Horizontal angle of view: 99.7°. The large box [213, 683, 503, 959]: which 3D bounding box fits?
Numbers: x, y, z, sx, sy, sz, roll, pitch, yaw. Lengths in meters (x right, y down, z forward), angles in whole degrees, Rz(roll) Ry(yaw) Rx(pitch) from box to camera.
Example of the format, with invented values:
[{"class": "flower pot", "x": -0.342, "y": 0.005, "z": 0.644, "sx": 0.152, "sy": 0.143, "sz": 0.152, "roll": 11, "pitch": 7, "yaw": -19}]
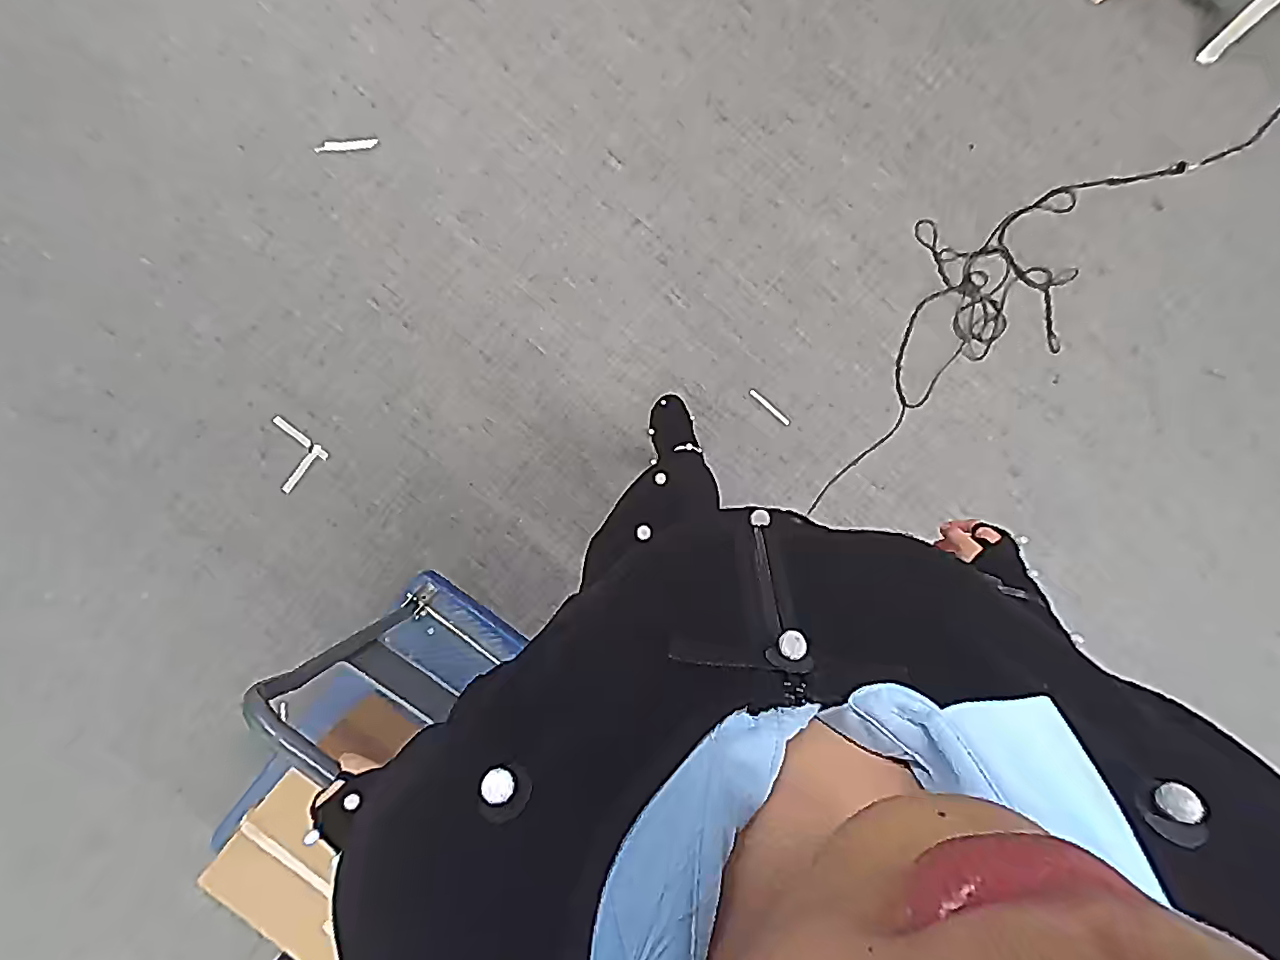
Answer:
[{"class": "large box", "x": -0.581, "y": 0.738, "z": 1.194, "sx": 0.408, "sy": 0.320, "sz": 0.320, "roll": 40, "pitch": 92, "yaw": -3}]
